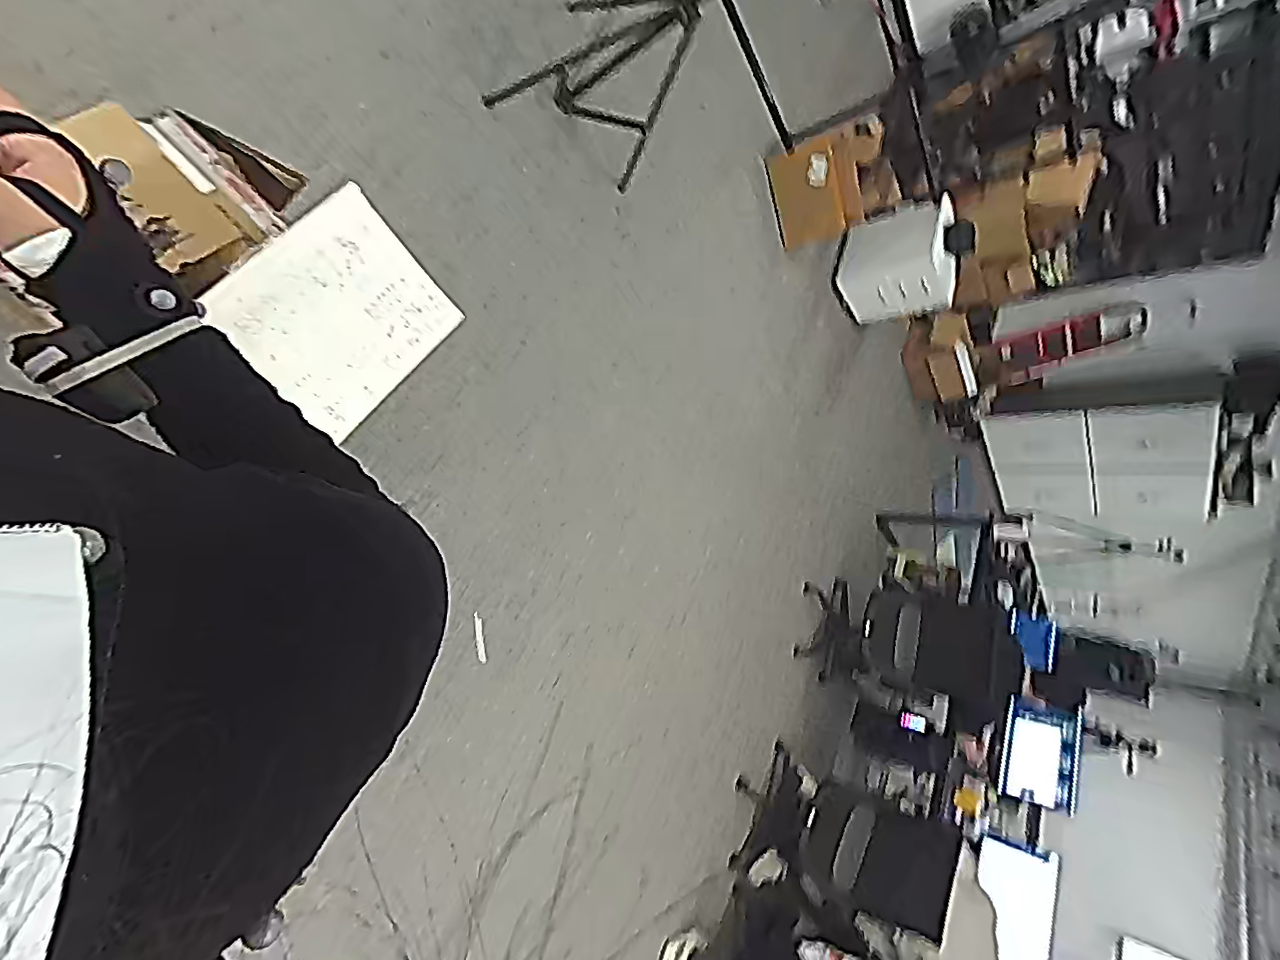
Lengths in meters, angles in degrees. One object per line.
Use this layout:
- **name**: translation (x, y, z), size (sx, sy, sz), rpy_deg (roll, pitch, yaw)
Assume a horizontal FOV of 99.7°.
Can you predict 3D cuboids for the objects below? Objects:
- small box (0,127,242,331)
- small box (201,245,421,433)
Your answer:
- **small box**: translation (-0.682, -0.315, 0.717), size (0.168, 0.176, 0.179), rpy_deg (-54, 125, -28)
- **small box**: translation (-0.445, -0.180, 0.733), size (0.168, 0.176, 0.179), rpy_deg (50, 58, -37)
